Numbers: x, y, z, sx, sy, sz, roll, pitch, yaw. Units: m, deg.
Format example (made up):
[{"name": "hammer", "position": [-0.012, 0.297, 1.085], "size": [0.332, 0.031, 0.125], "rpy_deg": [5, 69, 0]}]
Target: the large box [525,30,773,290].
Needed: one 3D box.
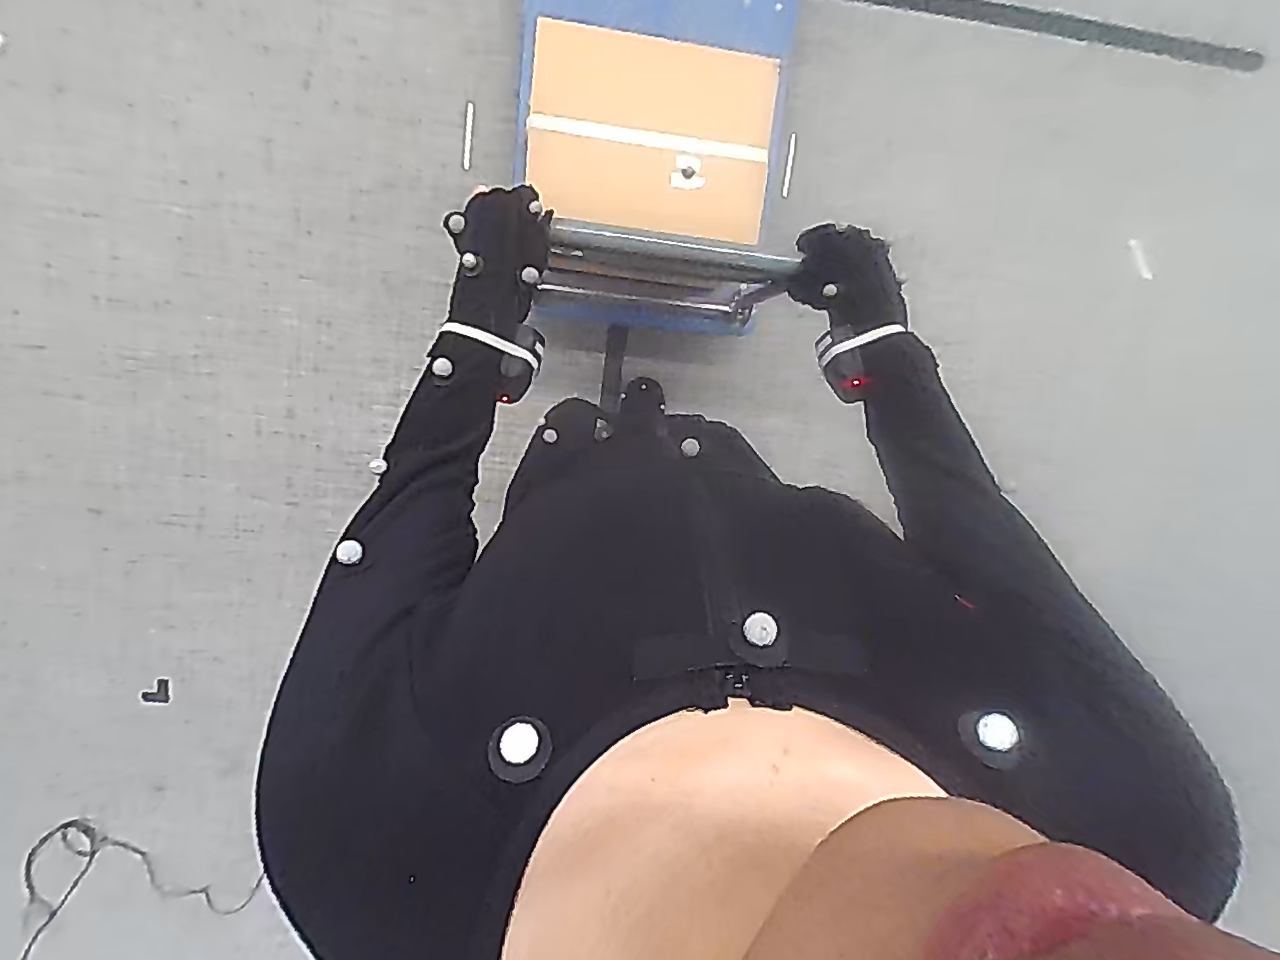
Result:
[{"name": "large box", "position": [-0.001, -0.576, 1.048], "size": [0.408, 0.320, 0.320], "rpy_deg": [5, 98, -7]}]
